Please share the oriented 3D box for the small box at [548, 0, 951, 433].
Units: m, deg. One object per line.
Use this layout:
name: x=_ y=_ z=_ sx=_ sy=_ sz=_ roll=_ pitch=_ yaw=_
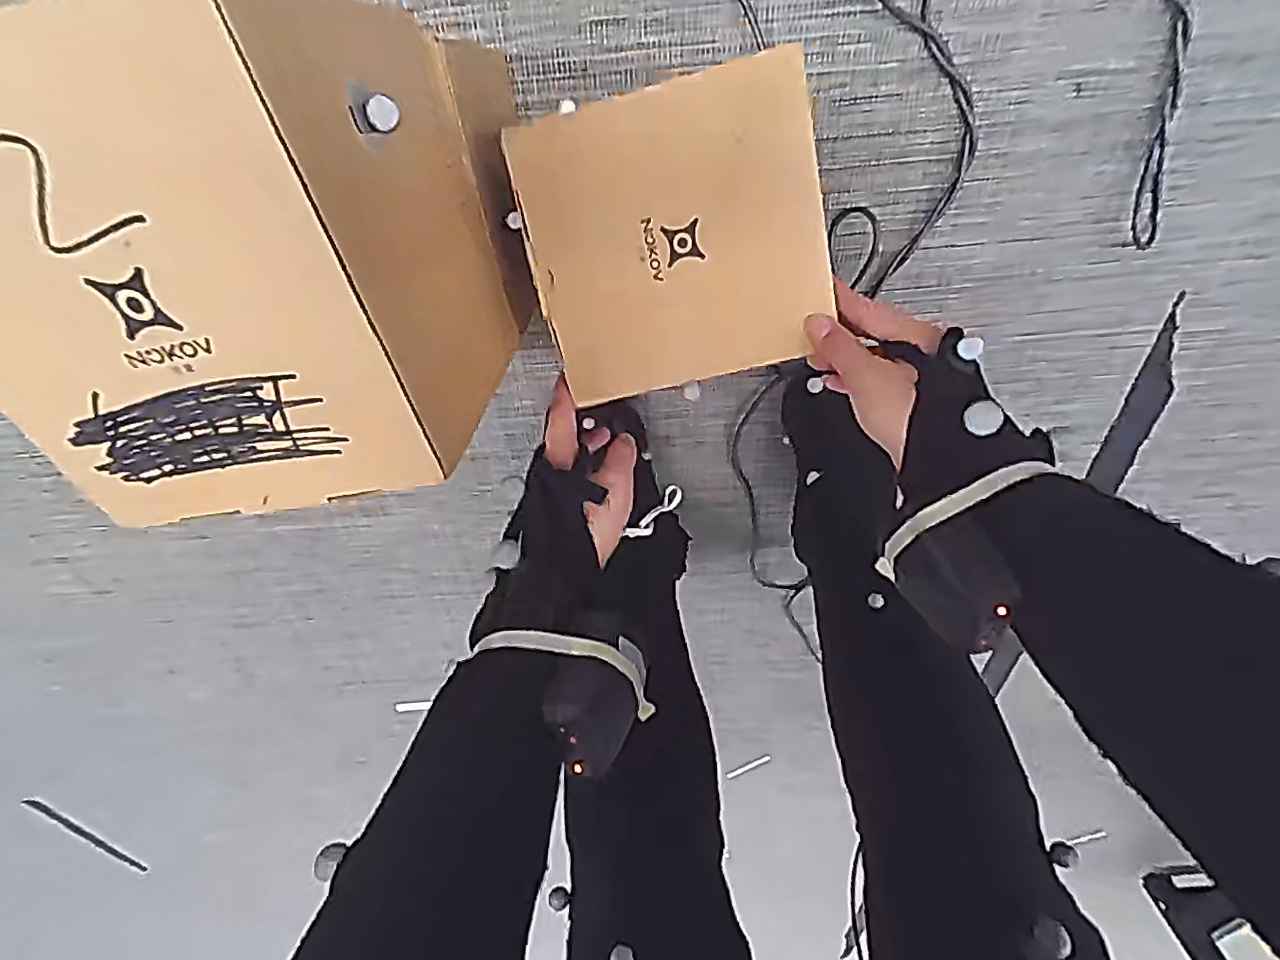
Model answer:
small box: x=0.038 y=-0.139 z=0.328 sx=0.168 sy=0.176 sz=0.179 roll=8 pitch=117 yaw=-12
